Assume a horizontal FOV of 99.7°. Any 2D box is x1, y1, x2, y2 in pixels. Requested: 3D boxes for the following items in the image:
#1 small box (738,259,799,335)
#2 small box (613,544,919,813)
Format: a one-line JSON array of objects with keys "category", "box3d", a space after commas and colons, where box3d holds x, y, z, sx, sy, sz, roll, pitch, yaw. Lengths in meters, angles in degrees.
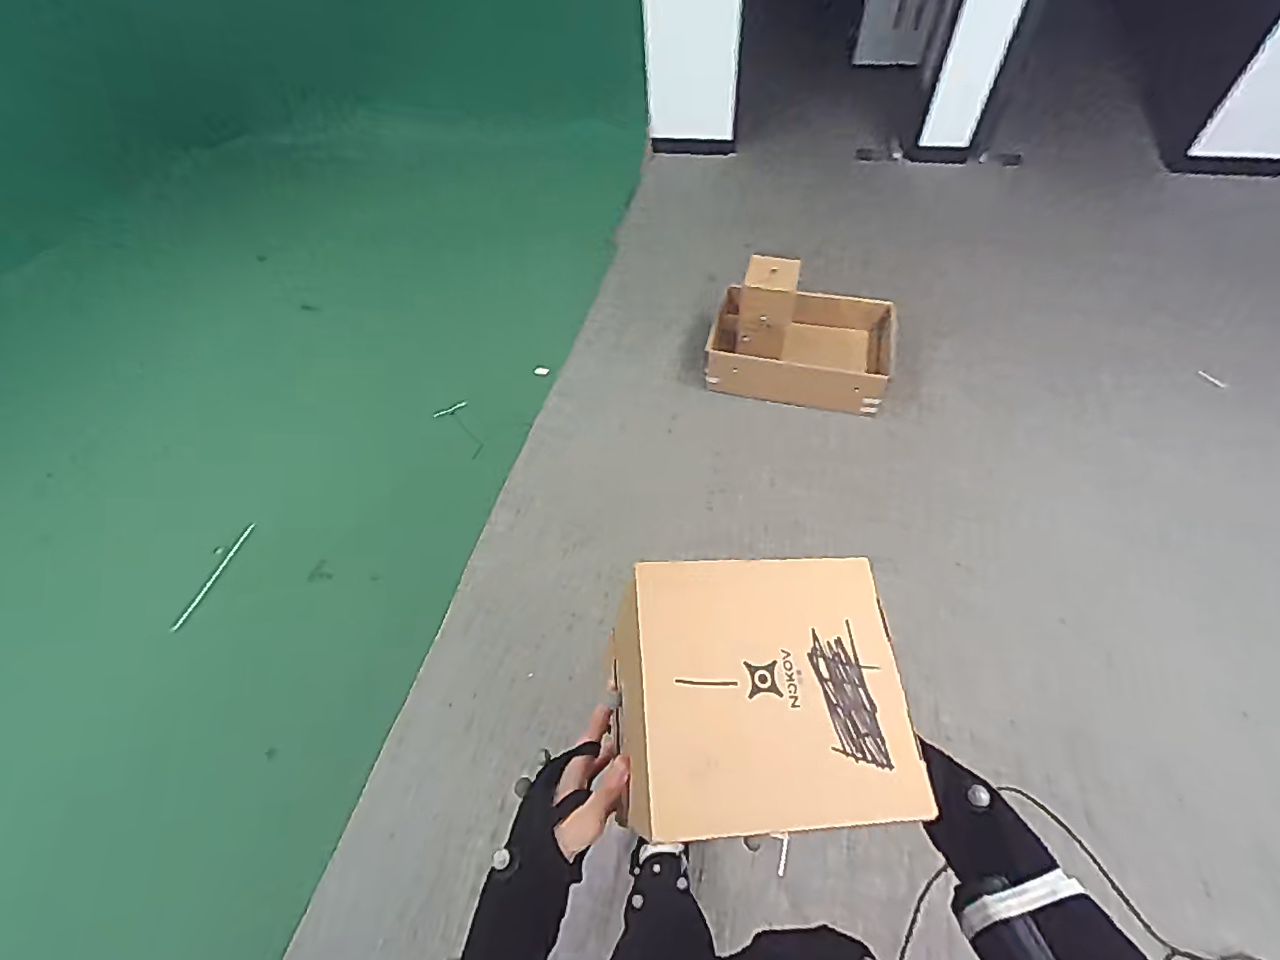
[{"category": "small box", "box3d": [0.437, -0.628, 1.853, 0.168, 0.176, 0.179, 12, 57, 14]}, {"category": "small box", "box3d": [0.073, 0.157, 0.425, 0.179, 0.176, 0.168, 0, 61, -7]}]
